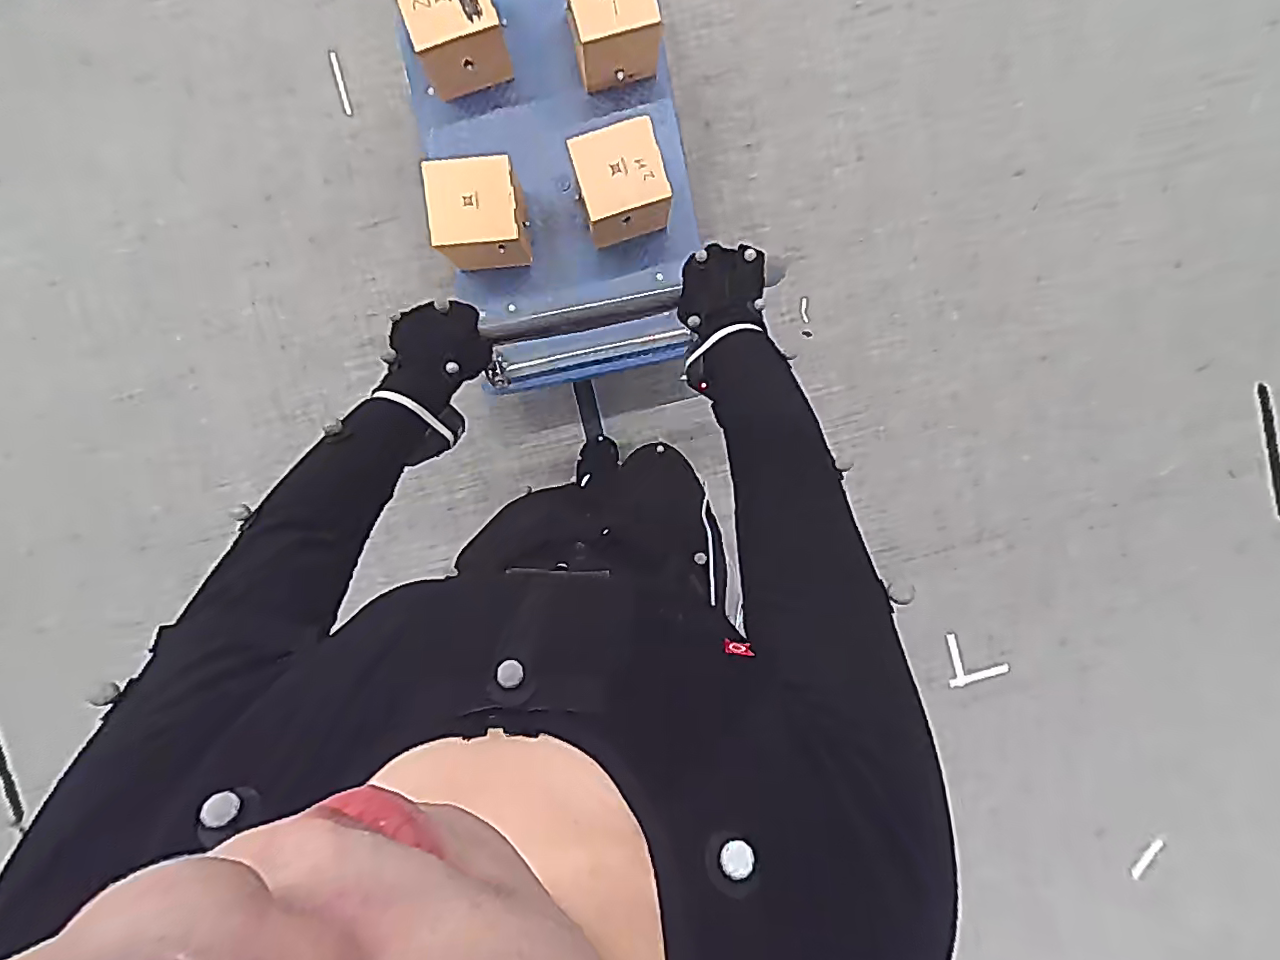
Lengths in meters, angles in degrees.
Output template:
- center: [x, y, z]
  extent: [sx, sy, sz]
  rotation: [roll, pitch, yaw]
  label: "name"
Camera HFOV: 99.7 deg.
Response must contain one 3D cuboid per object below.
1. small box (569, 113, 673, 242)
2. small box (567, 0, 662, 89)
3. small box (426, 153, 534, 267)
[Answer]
- center: [-0.038, -0.638, 1.165]
  extent: [0.179, 0.176, 0.168]
  rotation: [-18, 96, 1]
  label: "small box"
- center: [-0.059, -0.975, 1.132]
  extent: [0.168, 0.176, 0.179]
  rotation: [-16, 97, 0]
  label: "small box"
- center: [-0.336, -0.572, 1.165]
  extent: [0.179, 0.176, 0.168]
  rotation: [-7, 95, -2]
  label: "small box"
